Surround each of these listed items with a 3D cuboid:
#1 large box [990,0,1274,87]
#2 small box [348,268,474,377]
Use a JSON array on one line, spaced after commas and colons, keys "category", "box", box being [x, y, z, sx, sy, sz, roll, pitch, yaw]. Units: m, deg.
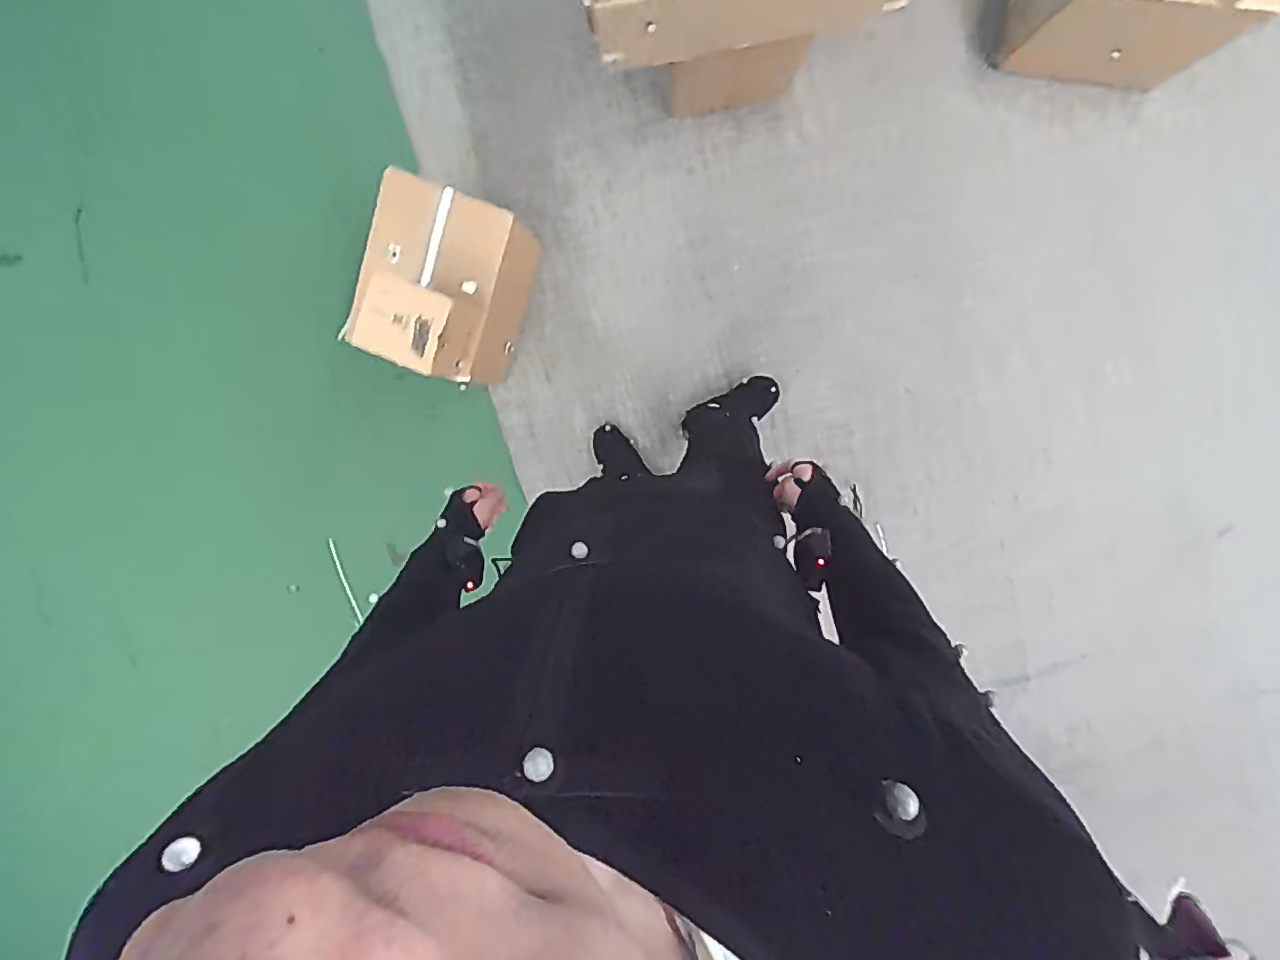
[{"category": "large box", "box": [1.108, -1.145, 1.219, 0.408, 0.320, 0.320, 7, 100, 2]}, {"category": "small box", "box": [-0.486, -0.334, 1.175, 0.179, 0.176, 0.168, 22, 99, -2]}]
